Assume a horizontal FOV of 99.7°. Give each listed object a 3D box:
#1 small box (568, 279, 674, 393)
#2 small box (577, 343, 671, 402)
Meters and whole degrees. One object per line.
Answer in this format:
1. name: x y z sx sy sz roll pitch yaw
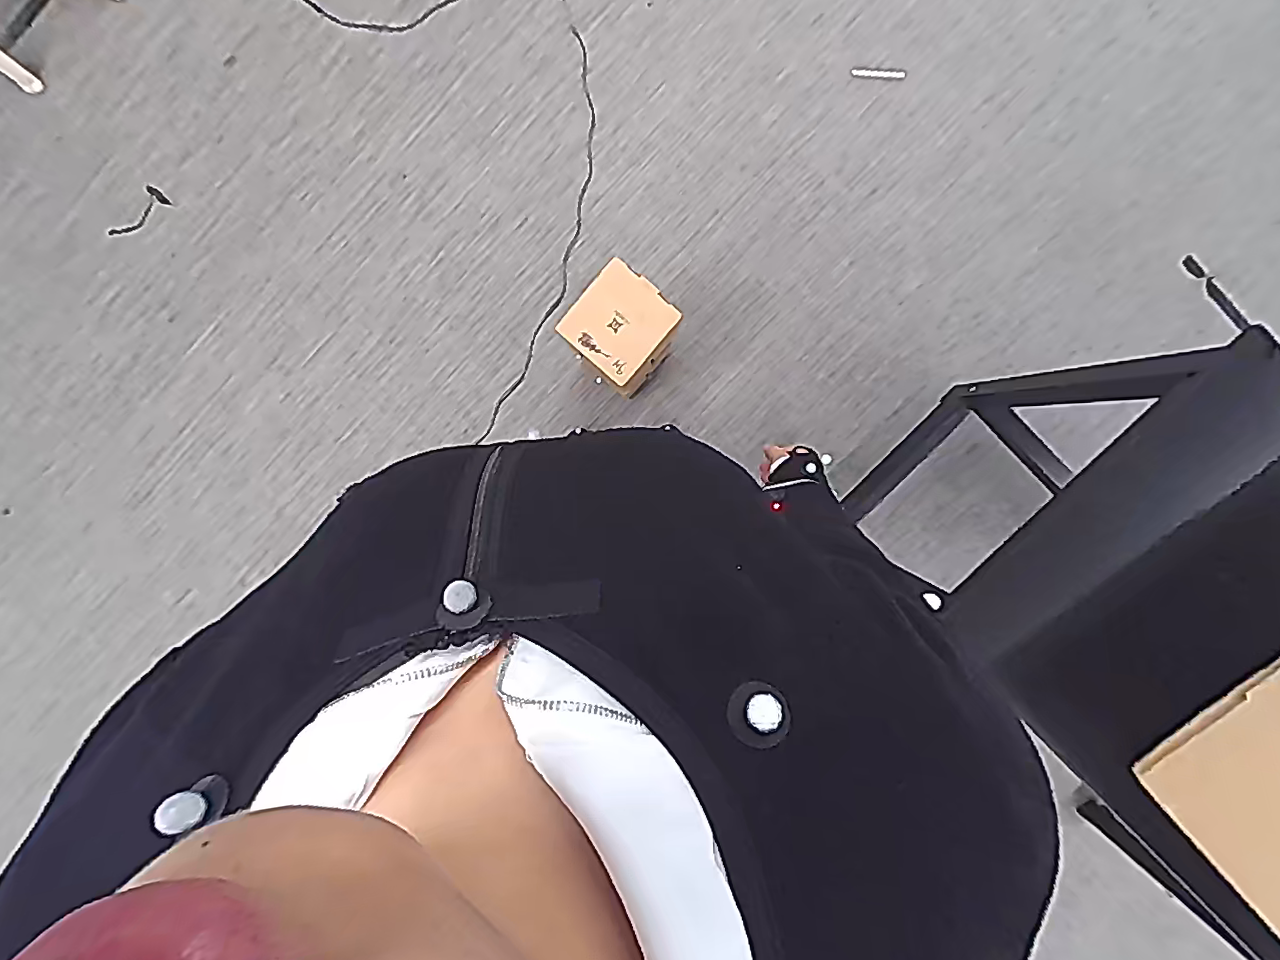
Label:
1. small box: -0.040 -0.315 1.232 0.168 0.176 0.179 38 92 -3
2. small box: -0.041 -0.321 1.394 0.168 0.176 0.179 41 94 -2
